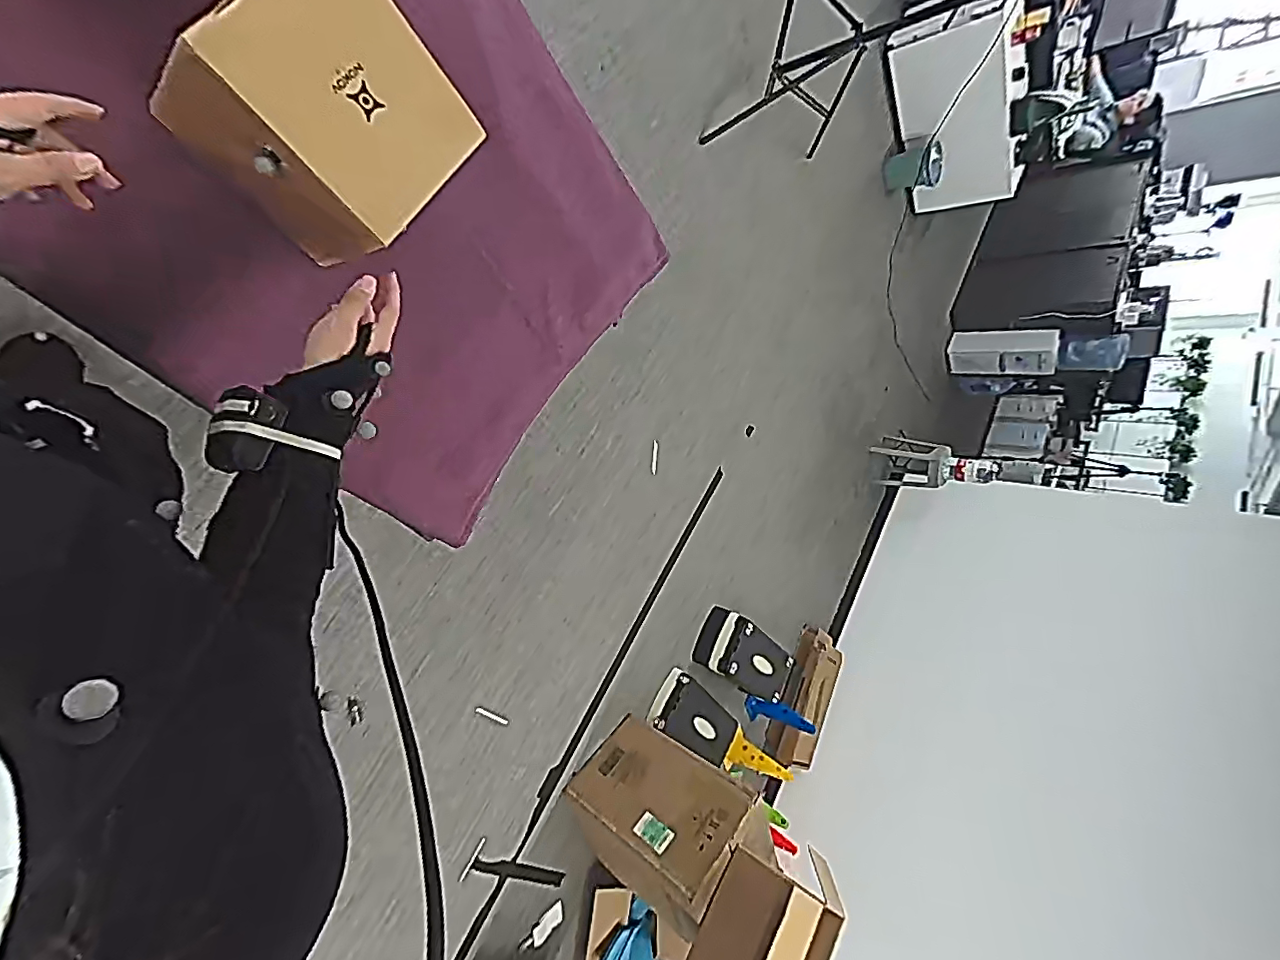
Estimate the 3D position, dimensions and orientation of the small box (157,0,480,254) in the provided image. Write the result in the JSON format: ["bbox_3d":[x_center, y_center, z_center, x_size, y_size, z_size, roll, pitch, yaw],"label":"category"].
[{"bbox_3d":[-0.297,-0.336,0.510,0.179,0.176,0.168,48,63,-42],"label":"small box"}]
